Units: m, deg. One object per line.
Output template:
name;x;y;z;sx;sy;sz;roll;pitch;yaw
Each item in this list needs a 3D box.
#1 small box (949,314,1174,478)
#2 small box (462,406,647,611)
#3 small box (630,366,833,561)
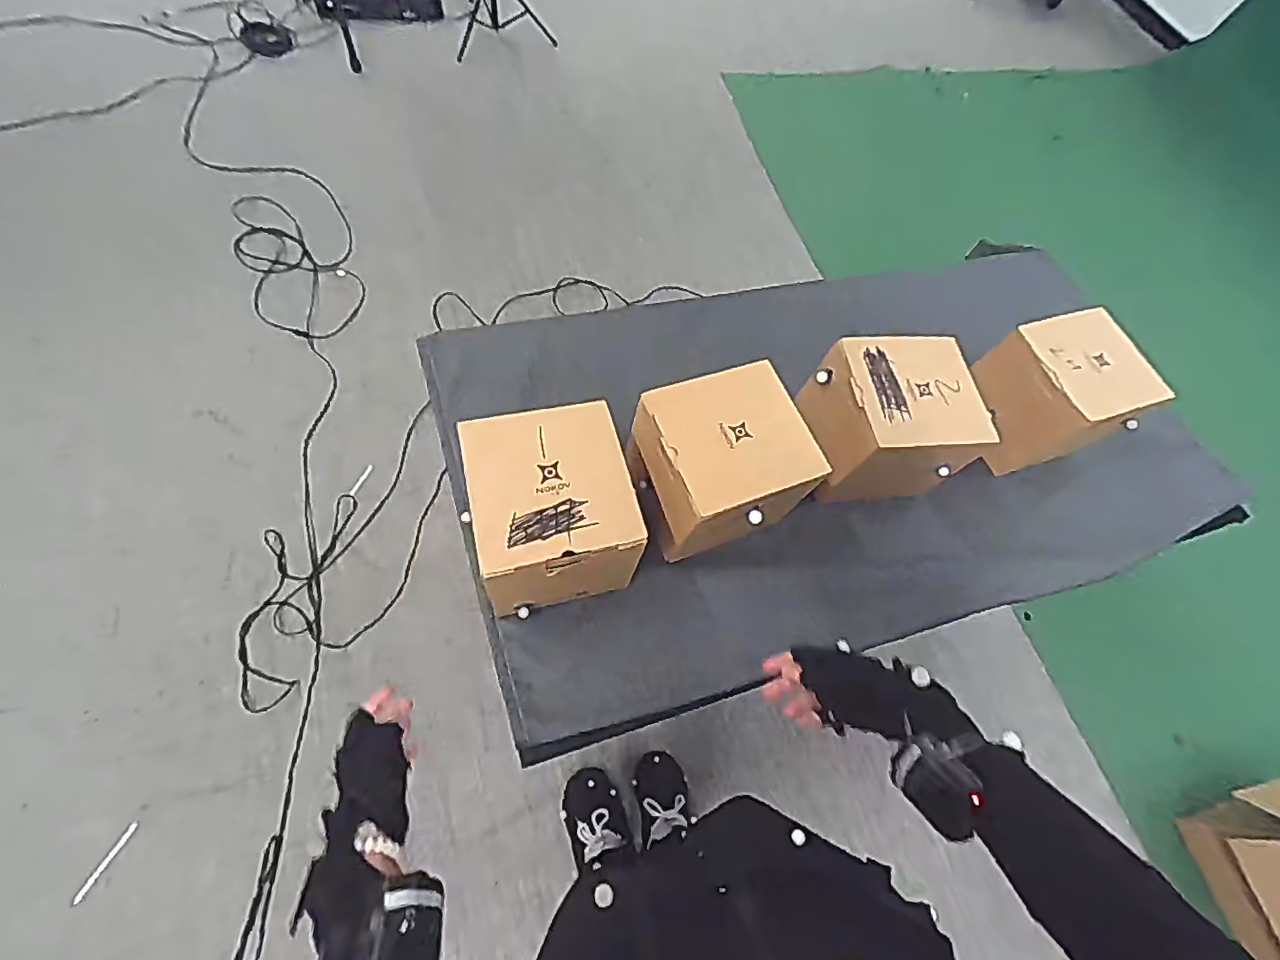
small box;0.627;-0.124;0.828;0.179;0.176;0.168;-15;68;-15
small box;-0.100;0.041;0.625;0.168;0.176;0.179;-10;64;-14
small box;0.103;-0.015;0.692;0.179;0.176;0.168;-18;70;-16
